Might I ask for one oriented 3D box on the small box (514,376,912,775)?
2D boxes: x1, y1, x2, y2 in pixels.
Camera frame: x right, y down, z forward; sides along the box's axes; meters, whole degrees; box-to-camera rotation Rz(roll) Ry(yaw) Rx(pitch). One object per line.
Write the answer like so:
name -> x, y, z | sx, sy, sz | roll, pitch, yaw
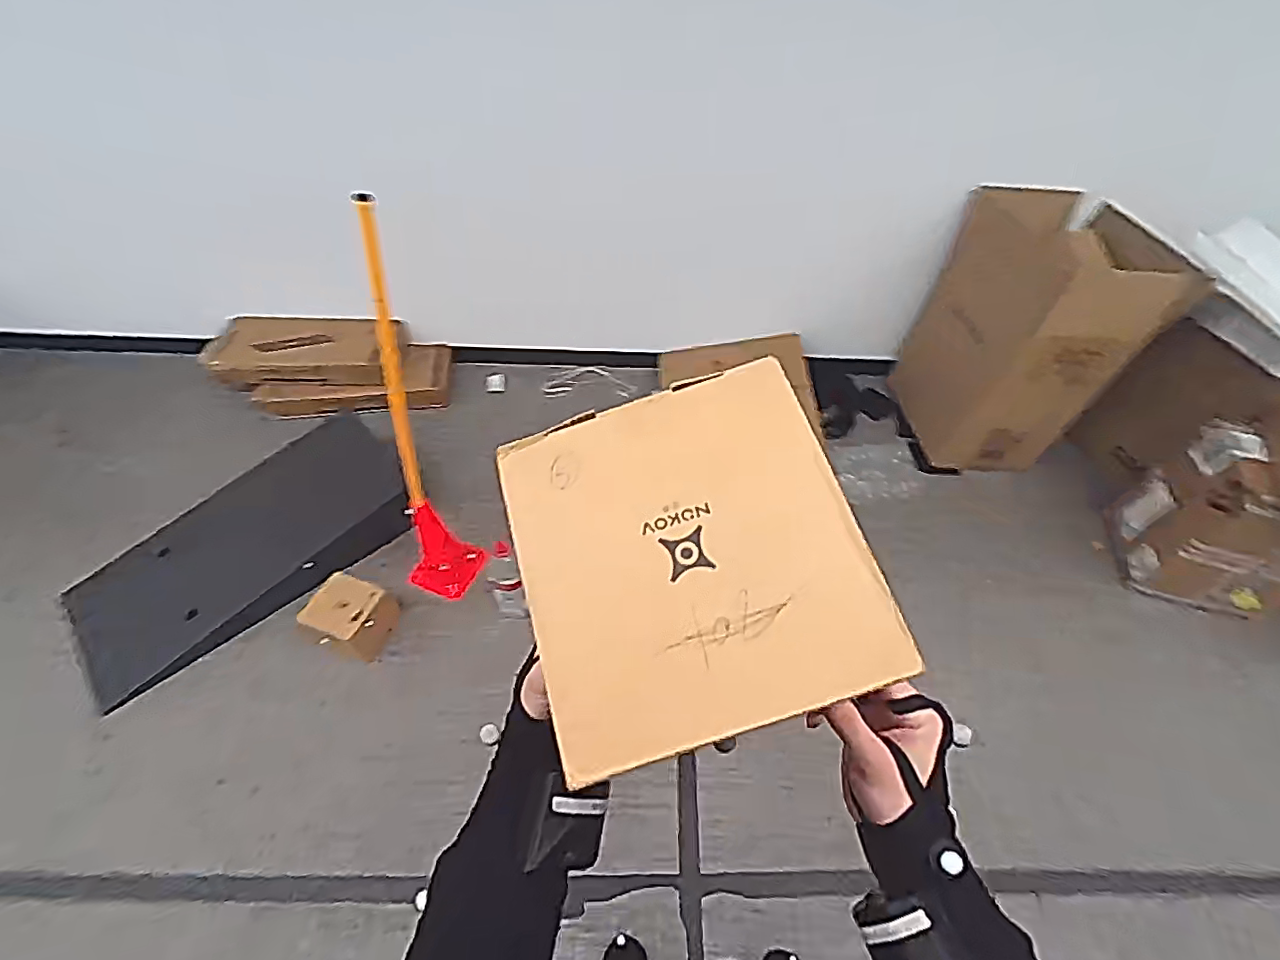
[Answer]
small box -> 0.035, 0.066, 0.353 | 0.168, 0.176, 0.179 | -17, 69, 1
